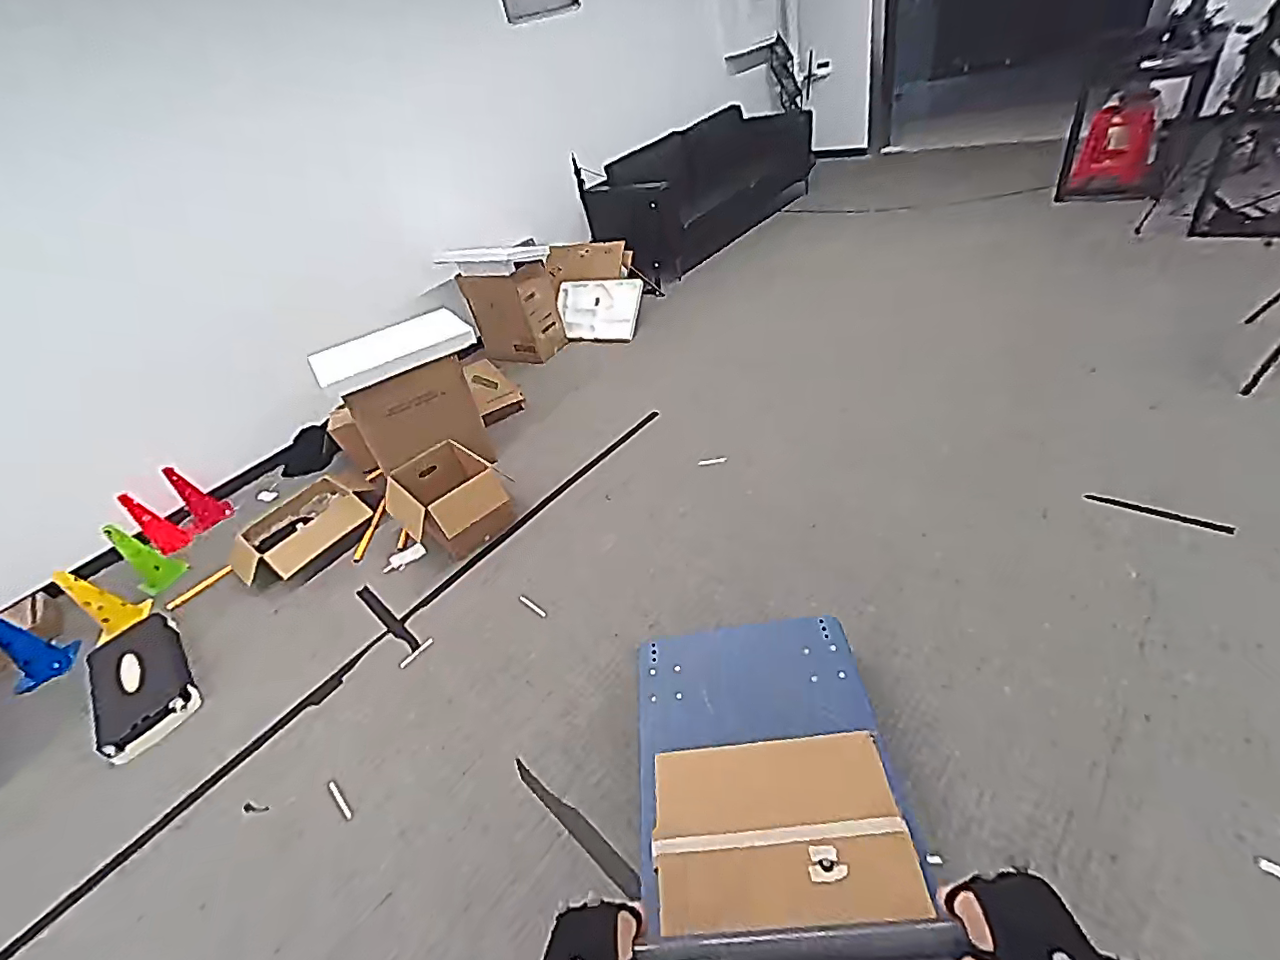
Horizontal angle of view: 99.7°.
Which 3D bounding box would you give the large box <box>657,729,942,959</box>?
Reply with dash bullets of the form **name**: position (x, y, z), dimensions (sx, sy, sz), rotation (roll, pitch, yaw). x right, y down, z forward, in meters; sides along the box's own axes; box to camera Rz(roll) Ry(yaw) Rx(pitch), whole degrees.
- **large box**: position (0.257, 0.702, 0.987), dimensions (0.408, 0.320, 0.320), rotation (-9, 39, 6)
